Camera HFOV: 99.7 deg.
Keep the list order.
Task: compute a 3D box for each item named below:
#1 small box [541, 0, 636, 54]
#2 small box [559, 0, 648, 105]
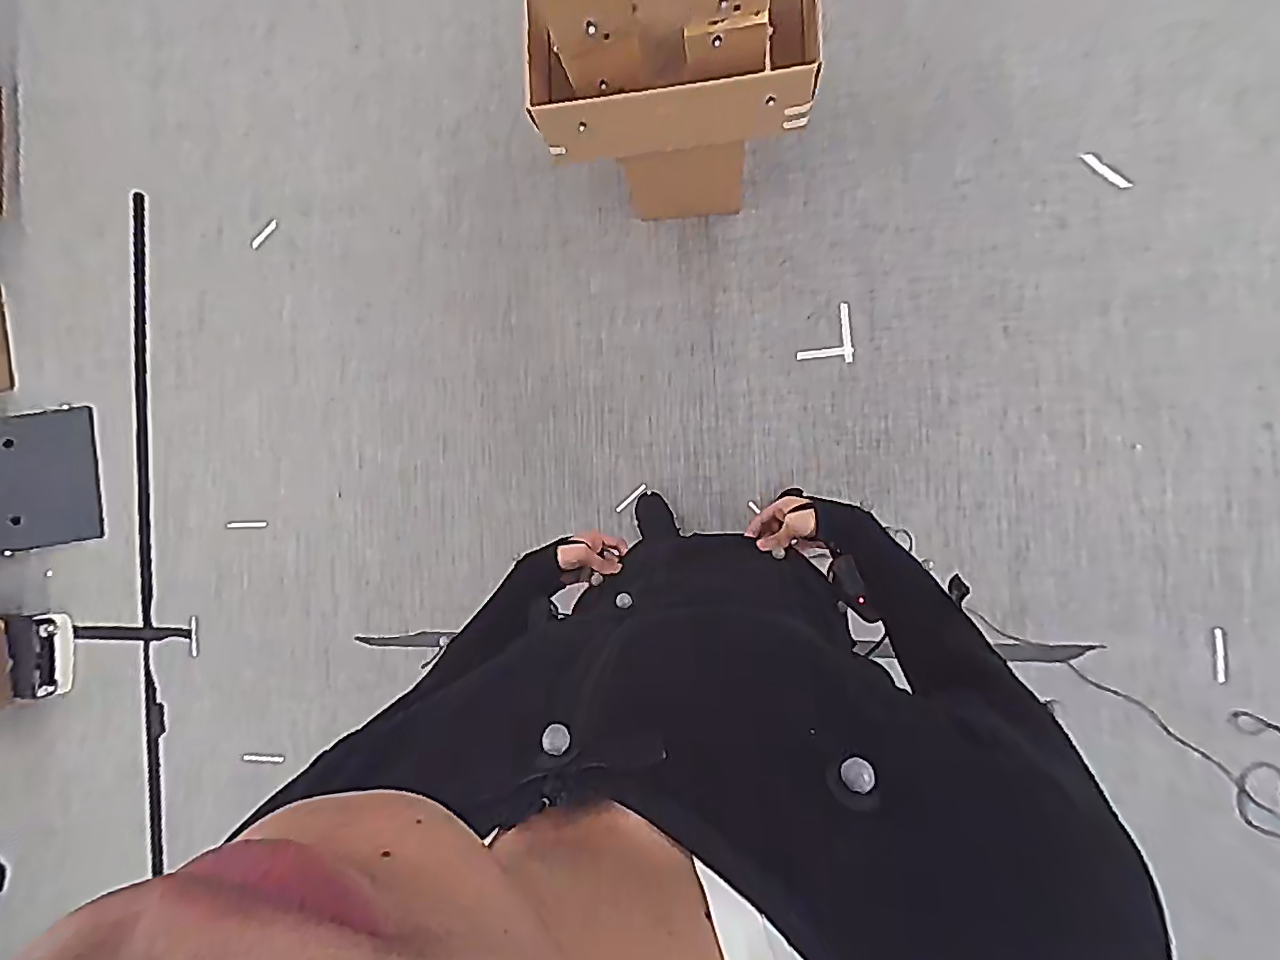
[{"bbox_3d":[-0.110,-0.971,1.023,0.168,0.176,0.179,-9,88,10],"label":"small box"},{"bbox_3d":[-0.085,-0.979,1.185,0.168,0.176,0.179,-10,88,10],"label":"small box"}]
